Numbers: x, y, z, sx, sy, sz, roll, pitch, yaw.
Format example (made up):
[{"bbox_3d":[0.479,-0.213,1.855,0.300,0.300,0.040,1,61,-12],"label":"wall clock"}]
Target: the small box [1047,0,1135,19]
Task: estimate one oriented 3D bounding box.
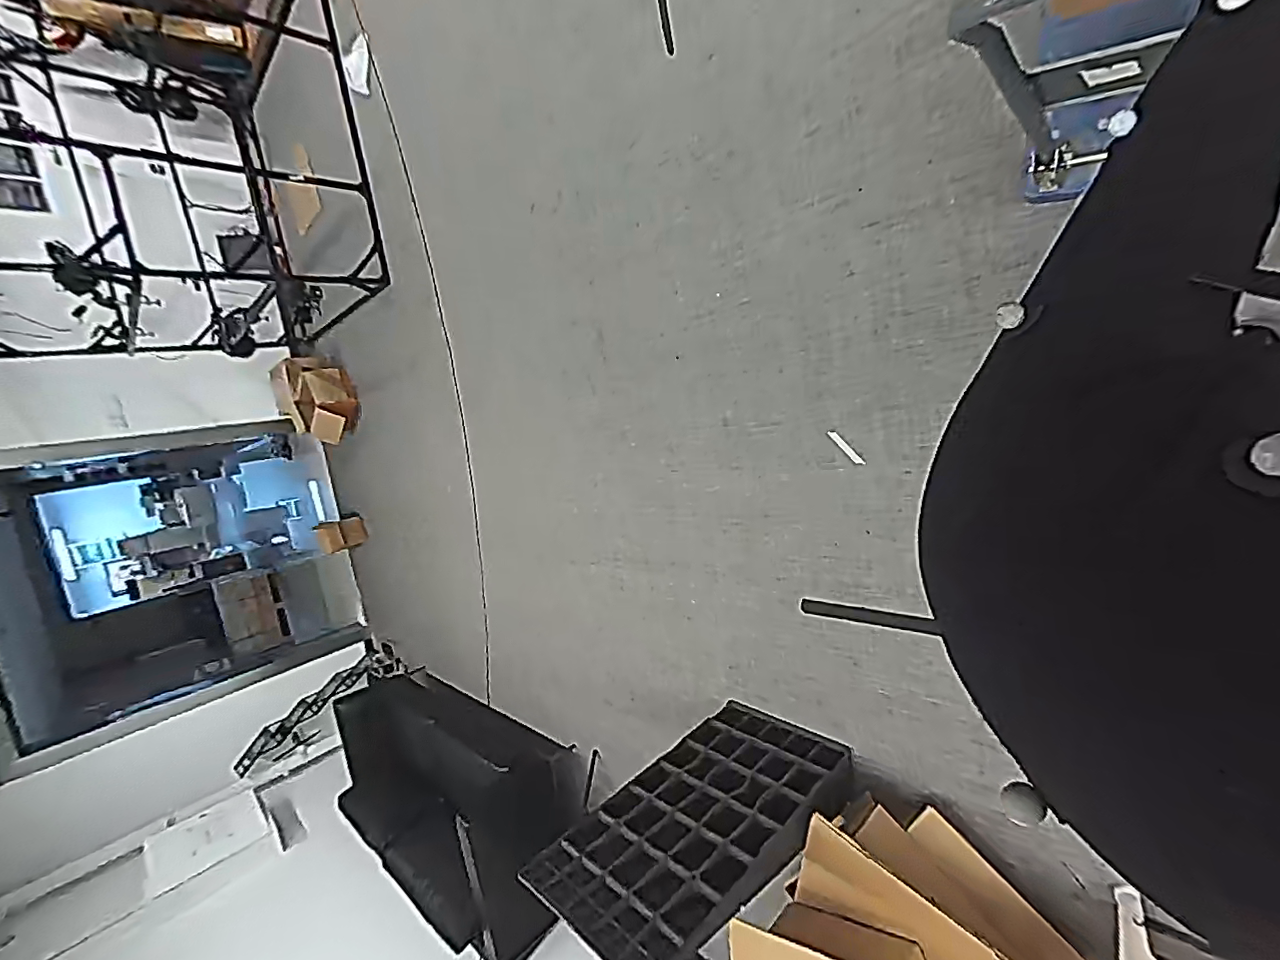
[{"bbox_3d":[0.732,-0.845,0.815,0.179,0.176,0.168,17,113,40],"label":"small box"}]
